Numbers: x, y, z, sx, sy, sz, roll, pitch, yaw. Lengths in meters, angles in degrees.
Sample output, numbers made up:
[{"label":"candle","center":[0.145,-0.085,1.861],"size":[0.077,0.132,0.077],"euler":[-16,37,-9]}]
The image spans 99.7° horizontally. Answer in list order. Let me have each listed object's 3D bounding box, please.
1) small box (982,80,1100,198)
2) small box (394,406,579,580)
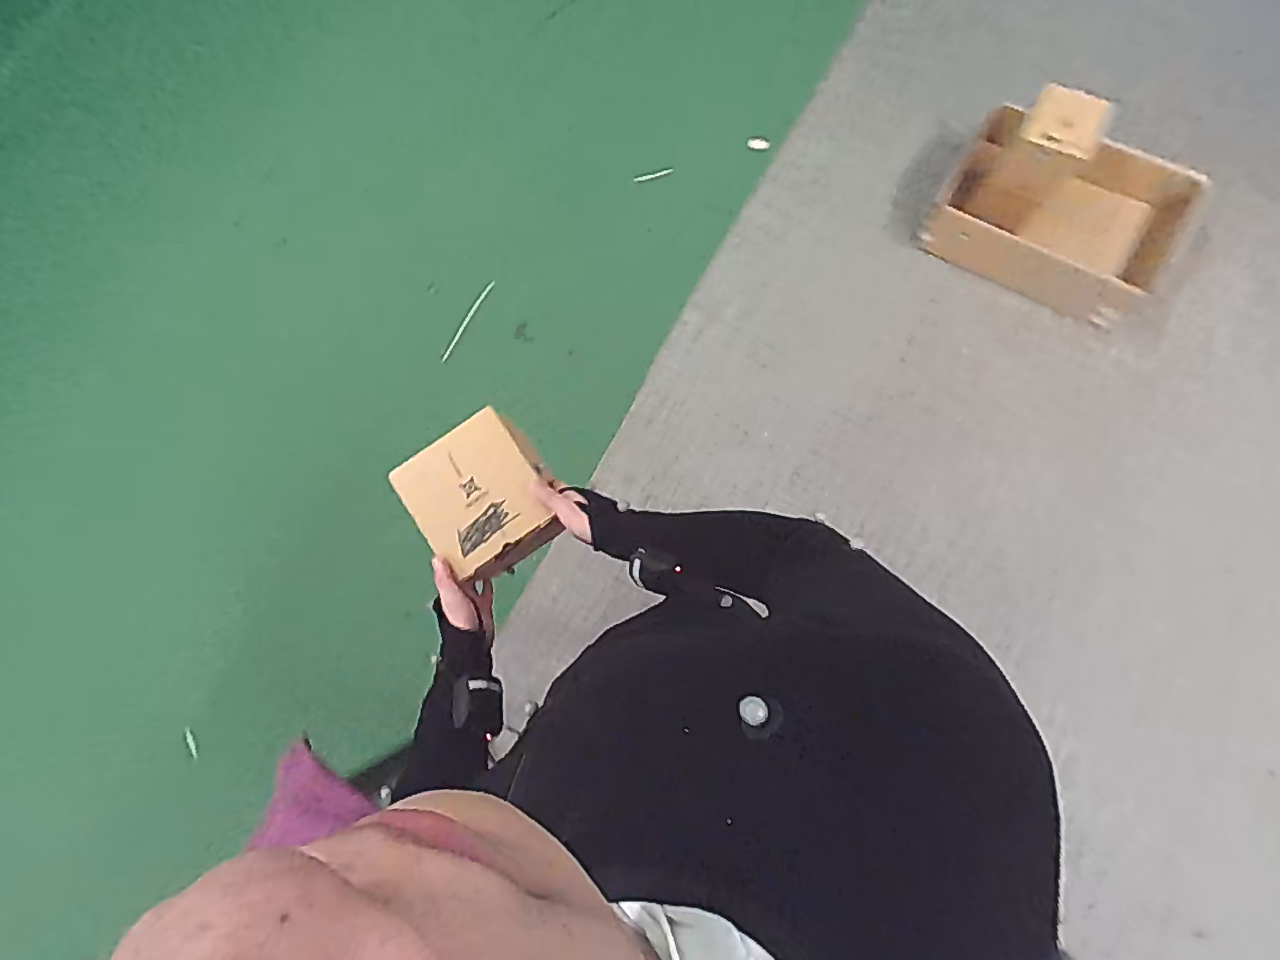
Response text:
[{"label":"small box","center":[1.056,-0.903,1.441],"size":[0.168,0.176,0.179],"euler":[26,83,10]},{"label":"small box","center":[-0.206,0.023,0.781],"size":[0.168,0.176,0.179],"euler":[-34,82,-2]}]
